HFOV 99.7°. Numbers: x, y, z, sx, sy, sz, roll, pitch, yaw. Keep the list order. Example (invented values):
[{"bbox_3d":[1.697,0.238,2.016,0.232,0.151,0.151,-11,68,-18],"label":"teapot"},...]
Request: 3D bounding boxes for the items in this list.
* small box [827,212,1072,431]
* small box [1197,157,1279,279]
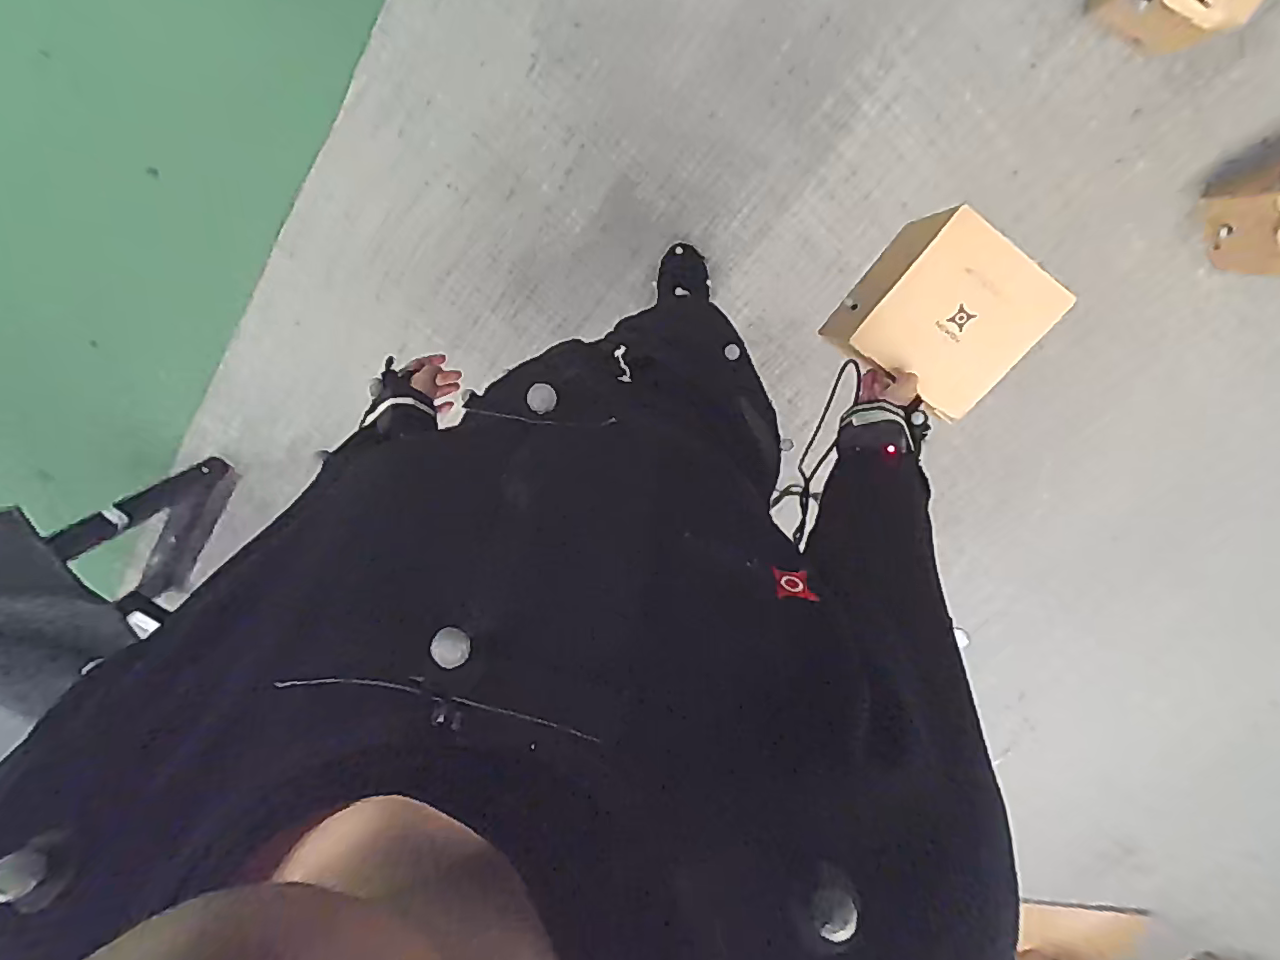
[{"bbox_3d":[0.355,-0.190,0.667,0.168,0.176,0.179,35,108,-7],"label":"small box"},{"bbox_3d":[1.216,-0.499,1.006,0.179,0.176,0.168,-28,110,16],"label":"small box"}]
